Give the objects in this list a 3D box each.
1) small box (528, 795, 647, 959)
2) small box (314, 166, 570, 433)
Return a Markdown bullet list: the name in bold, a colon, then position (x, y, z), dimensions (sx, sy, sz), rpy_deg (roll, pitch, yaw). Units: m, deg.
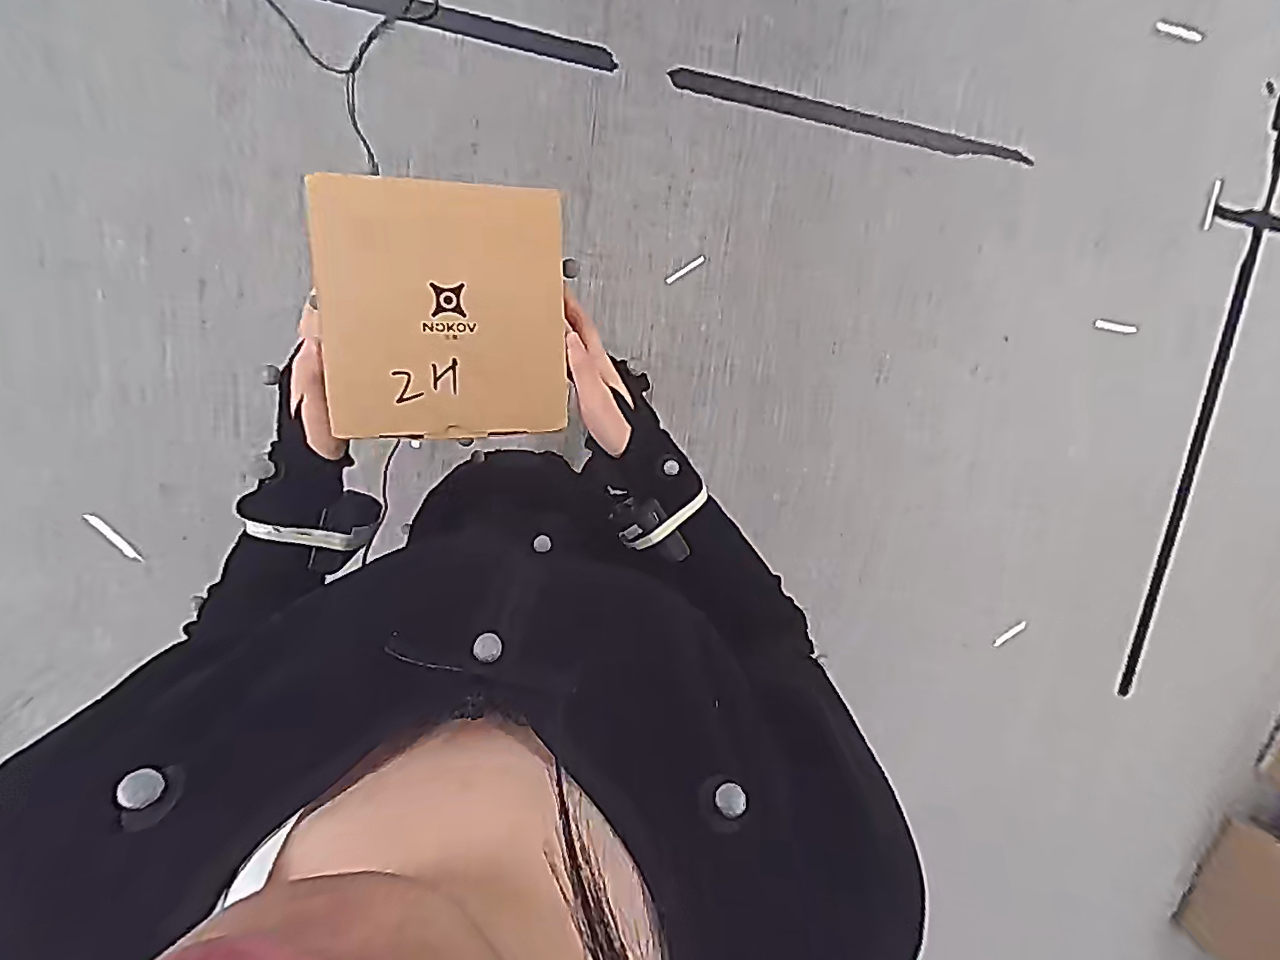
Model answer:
- **small box**: position (-0.090, 0.657, 0.890), dimensions (0.168, 0.176, 0.179), rpy_deg (5, 98, -10)
- **small box**: position (-0.153, -0.132, 0.457), dimensions (0.168, 0.176, 0.179), rpy_deg (-3, 99, -14)
